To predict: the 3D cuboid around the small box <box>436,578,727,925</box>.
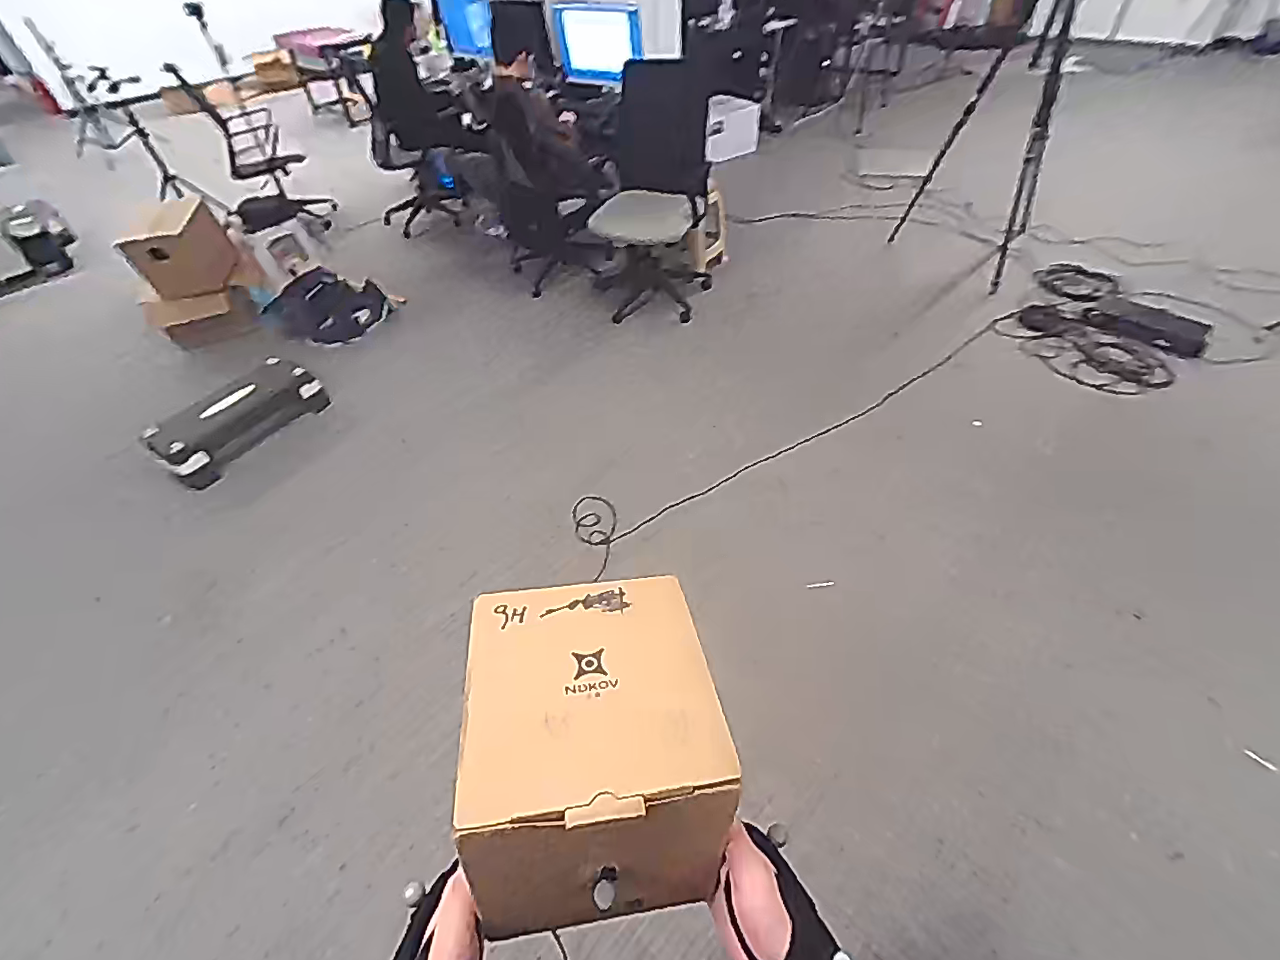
[{"bbox_3d":[-0.044,0.201,0.409,0.168,0.176,0.179,-3,36,-10],"label":"small box"}]
